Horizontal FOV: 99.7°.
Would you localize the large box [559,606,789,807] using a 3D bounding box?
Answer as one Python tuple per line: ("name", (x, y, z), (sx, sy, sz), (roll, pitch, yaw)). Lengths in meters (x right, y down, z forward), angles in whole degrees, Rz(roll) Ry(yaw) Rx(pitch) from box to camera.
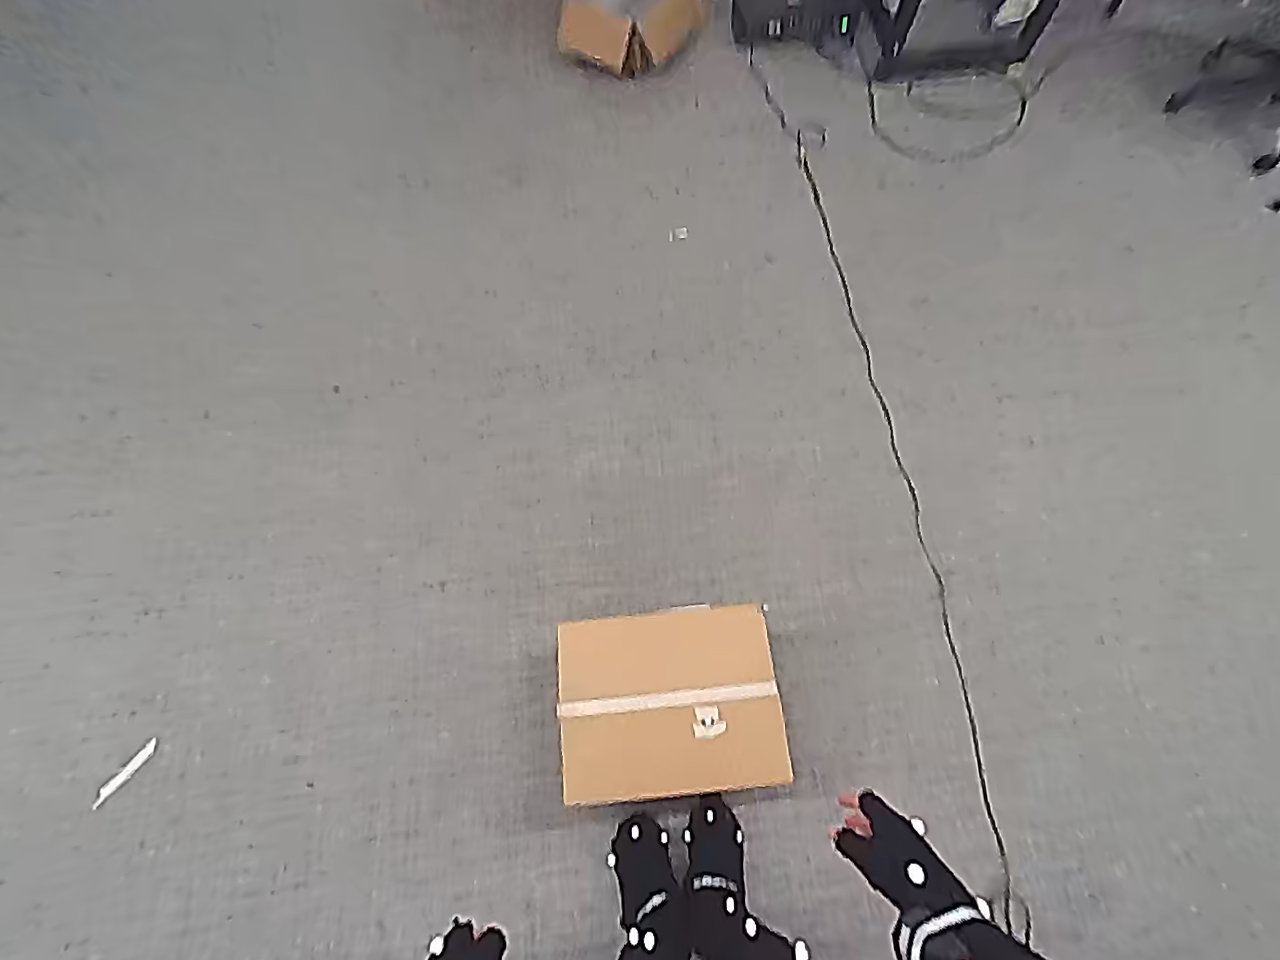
("large box", (0.053, 0.471, 1.147), (0.408, 0.320, 0.320), (-5, 68, -2))
